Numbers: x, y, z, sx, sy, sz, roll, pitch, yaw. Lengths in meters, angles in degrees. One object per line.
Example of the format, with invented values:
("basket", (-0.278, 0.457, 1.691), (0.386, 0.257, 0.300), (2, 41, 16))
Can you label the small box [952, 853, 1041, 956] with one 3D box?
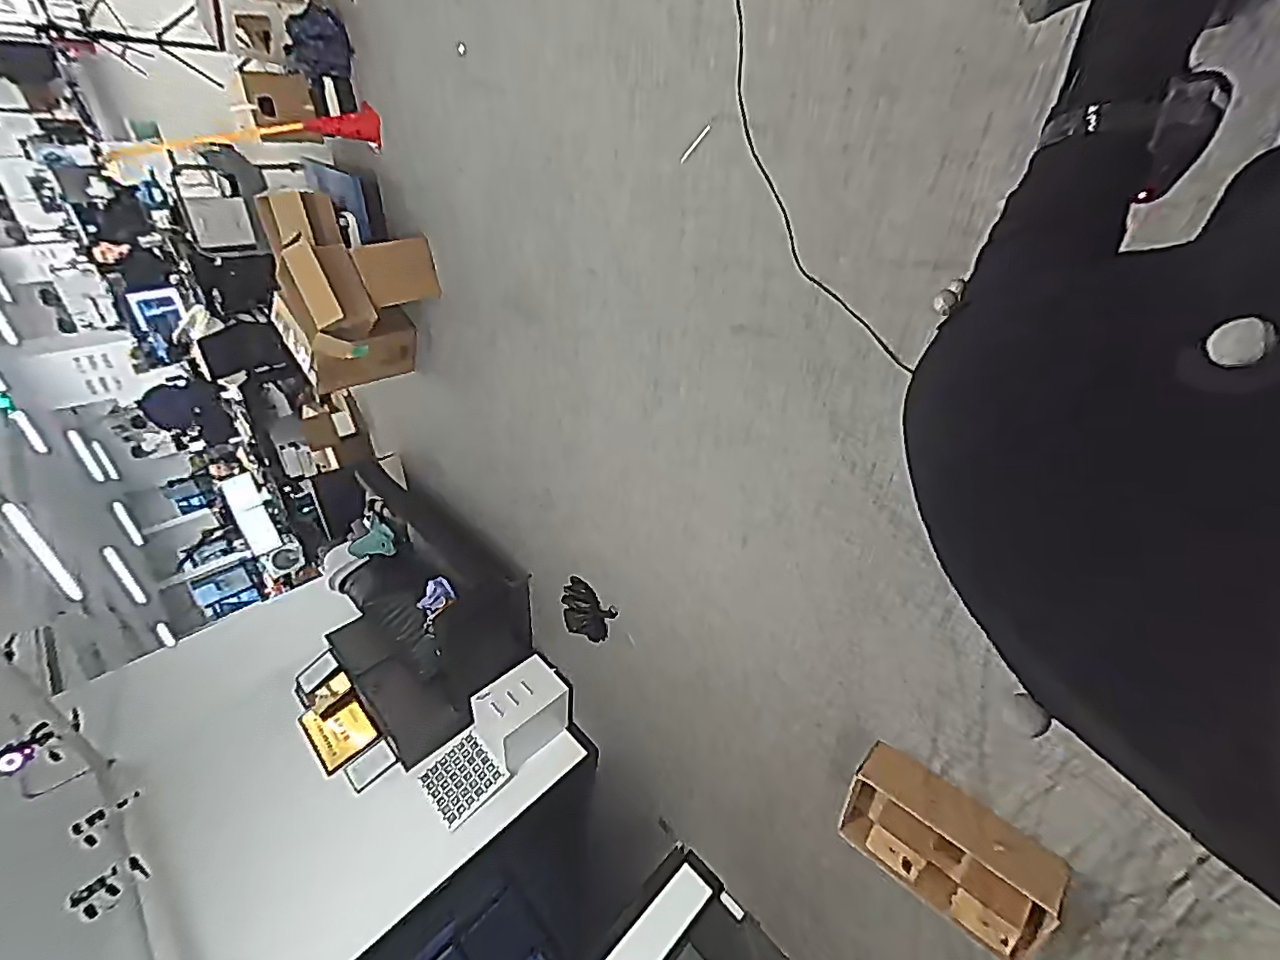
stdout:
("small box", (1.143, 1.347, 1.735), (0.179, 0.176, 0.168), (25, 130, 41))

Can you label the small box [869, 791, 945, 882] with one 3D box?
("small box", (0.943, 1.251, 1.907), (0.179, 0.176, 0.168), (27, 131, 36))
